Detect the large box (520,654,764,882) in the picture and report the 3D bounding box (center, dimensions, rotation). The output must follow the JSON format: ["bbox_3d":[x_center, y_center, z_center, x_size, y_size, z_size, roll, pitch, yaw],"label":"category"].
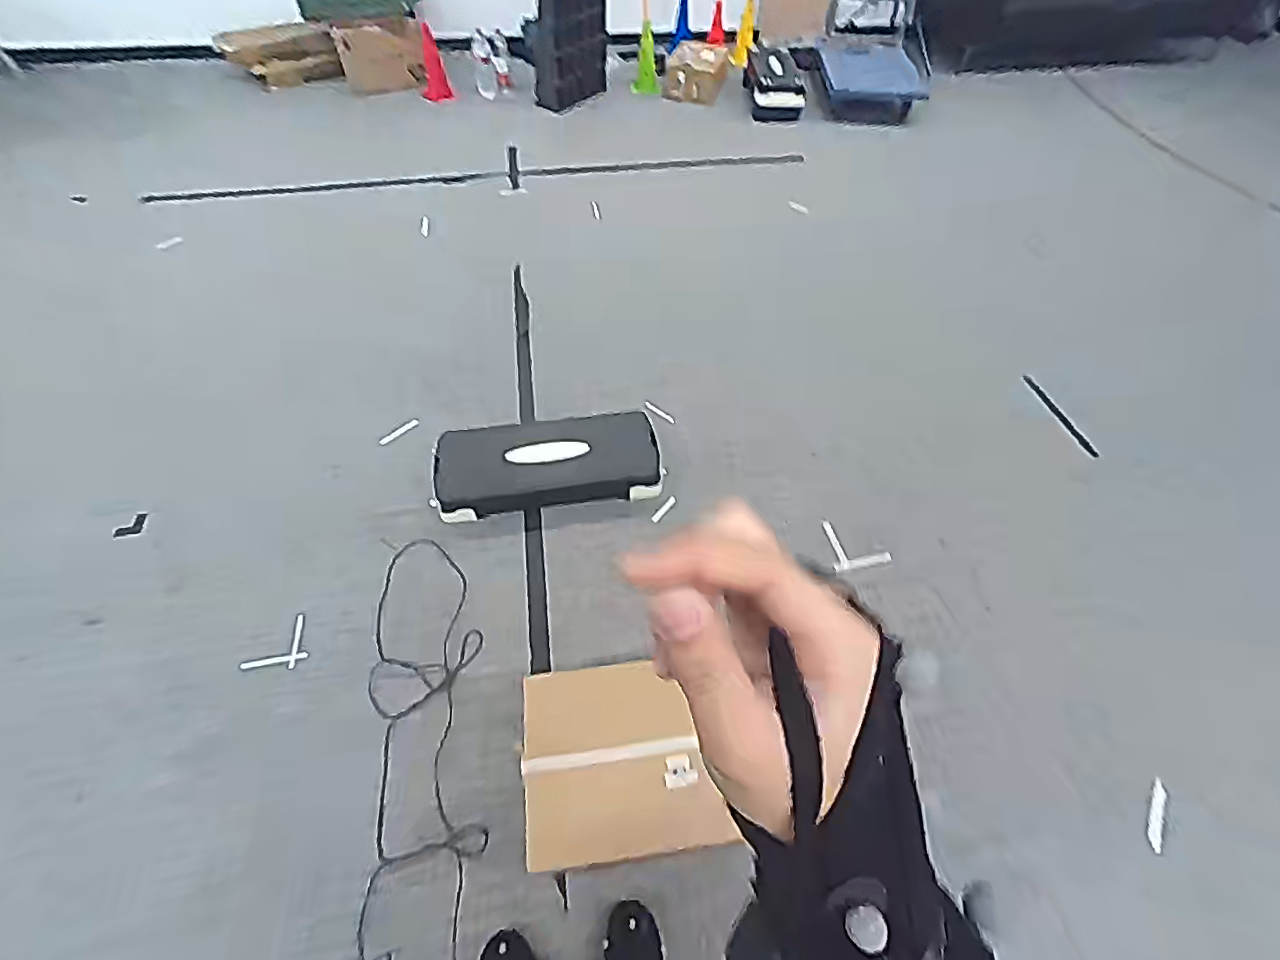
[{"bbox_3d":[-0.017,0.573,1.074,0.408,0.320,0.320,-4,54,-7],"label":"large box"}]
